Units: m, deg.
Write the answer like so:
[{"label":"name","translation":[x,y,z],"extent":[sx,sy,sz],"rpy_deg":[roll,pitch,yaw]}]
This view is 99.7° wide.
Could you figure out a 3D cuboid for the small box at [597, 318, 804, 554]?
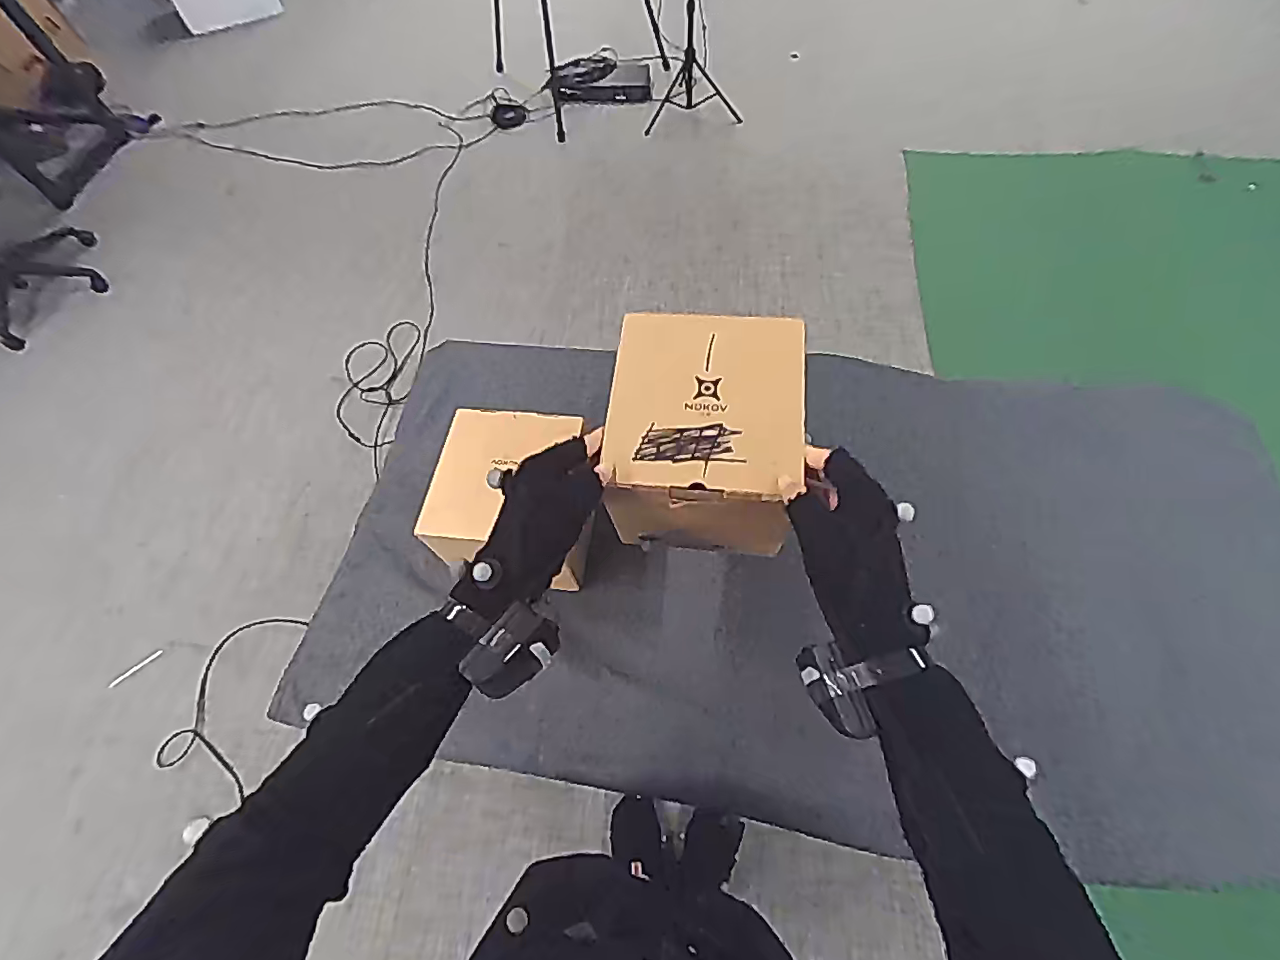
[{"label":"small box","translation":[0.064,-0.035,0.534],"extent":[0.168,0.176,0.179],"rpy_deg":[4,67,8]}]

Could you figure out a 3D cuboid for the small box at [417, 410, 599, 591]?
[{"label":"small box","translation":[-0.153,0.032,0.699],"extent":[0.168,0.176,0.179],"rpy_deg":[5,61,6]}]
